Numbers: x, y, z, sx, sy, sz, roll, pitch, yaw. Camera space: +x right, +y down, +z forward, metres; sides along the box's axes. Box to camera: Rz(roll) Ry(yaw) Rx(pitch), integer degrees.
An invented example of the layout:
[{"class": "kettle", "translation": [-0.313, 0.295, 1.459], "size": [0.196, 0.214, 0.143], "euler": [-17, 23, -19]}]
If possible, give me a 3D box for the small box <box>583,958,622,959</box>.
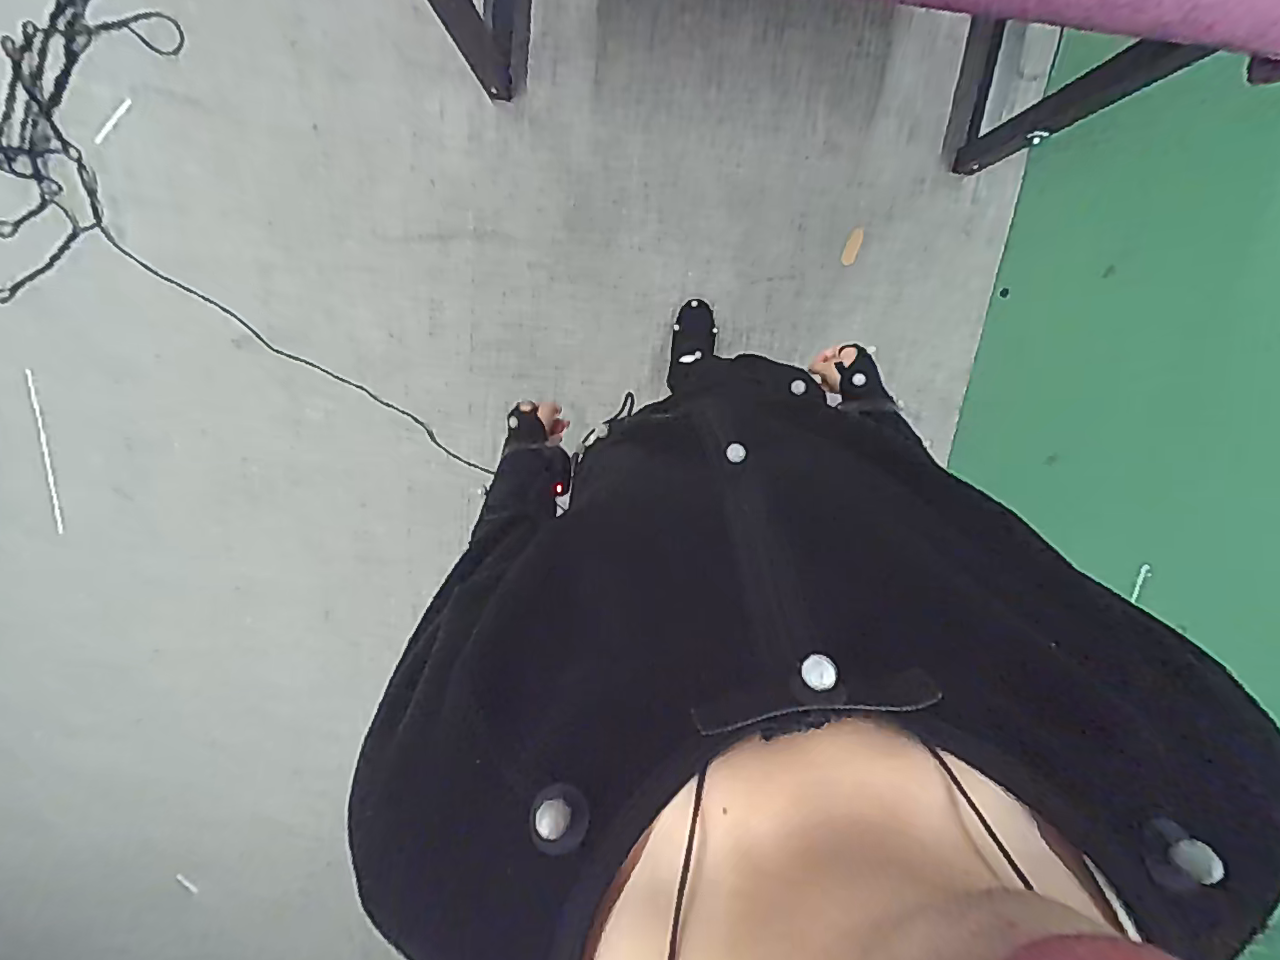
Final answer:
[{"class": "small box", "translation": [-0.094, 1.345, 1.353], "size": [0.168, 0.176, 0.179], "euler": [-8, 104, 3]}]
